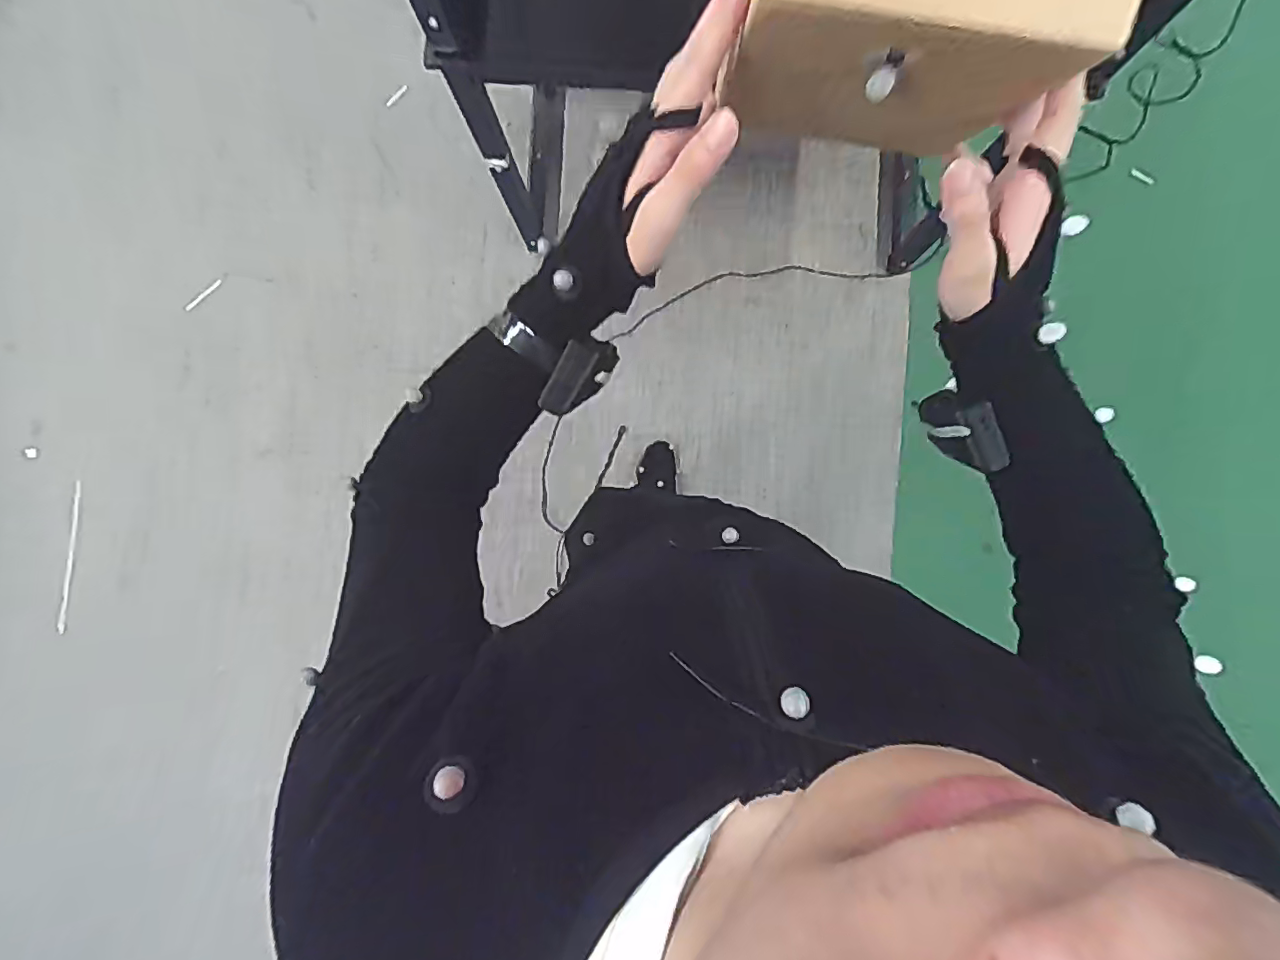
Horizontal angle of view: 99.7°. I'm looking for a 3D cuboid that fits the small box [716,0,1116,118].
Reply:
[{"bbox_3d":[0.148,-0.329,0.302,0.179,0.176,0.168,8,106,0],"label":"small box"}]
